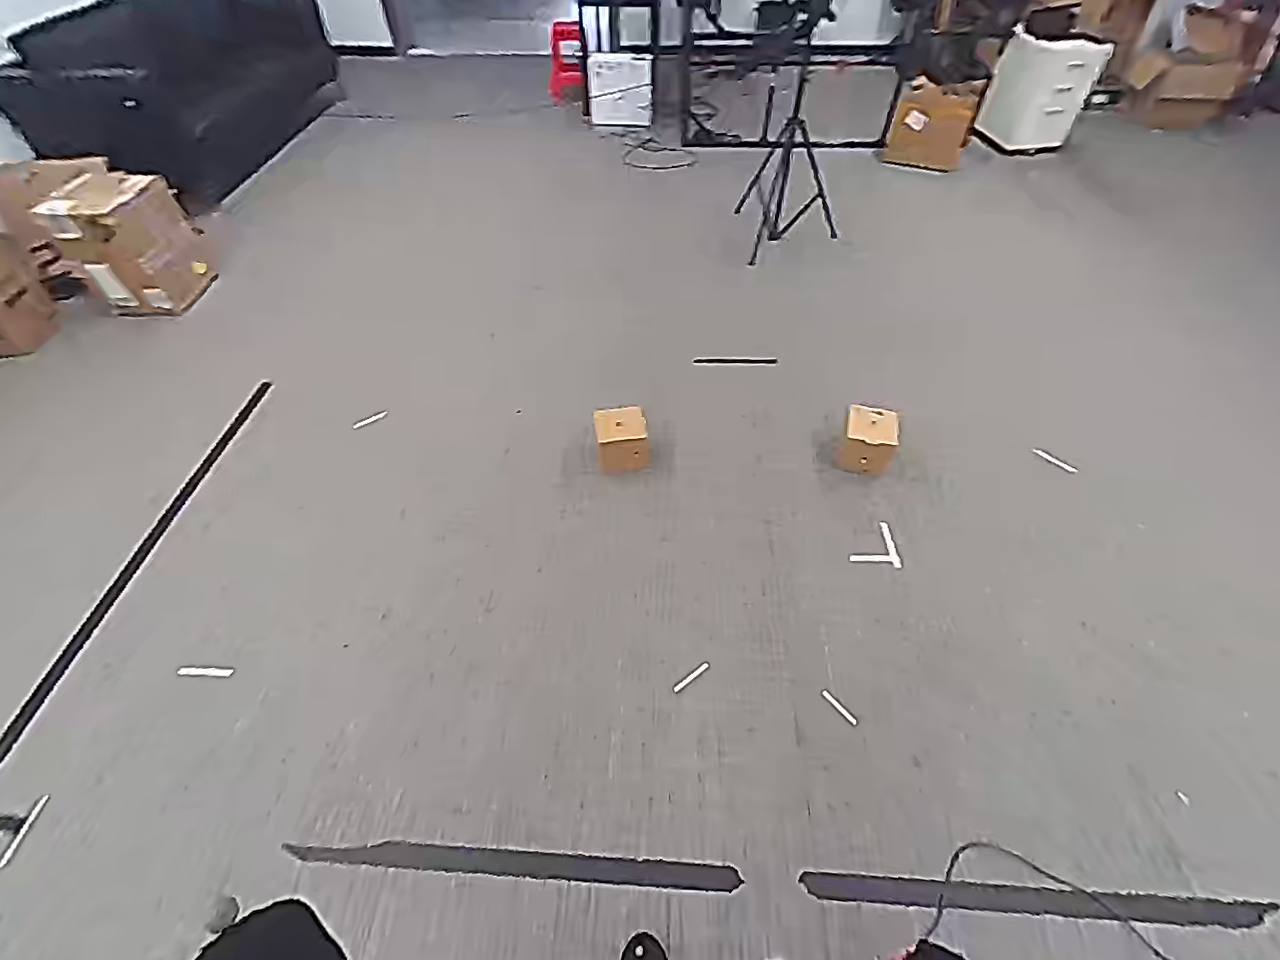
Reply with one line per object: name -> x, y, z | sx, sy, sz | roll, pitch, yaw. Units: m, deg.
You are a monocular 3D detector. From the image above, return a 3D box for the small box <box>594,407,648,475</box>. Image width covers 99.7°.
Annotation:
small box -> -0.069, -0.138, 1.959 | 0.179, 0.176, 0.168 | -9, 49, -5

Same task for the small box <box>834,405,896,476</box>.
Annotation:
small box -> 0.806, -0.139, 1.943 | 0.168, 0.176, 0.179 | 13, 53, 10
